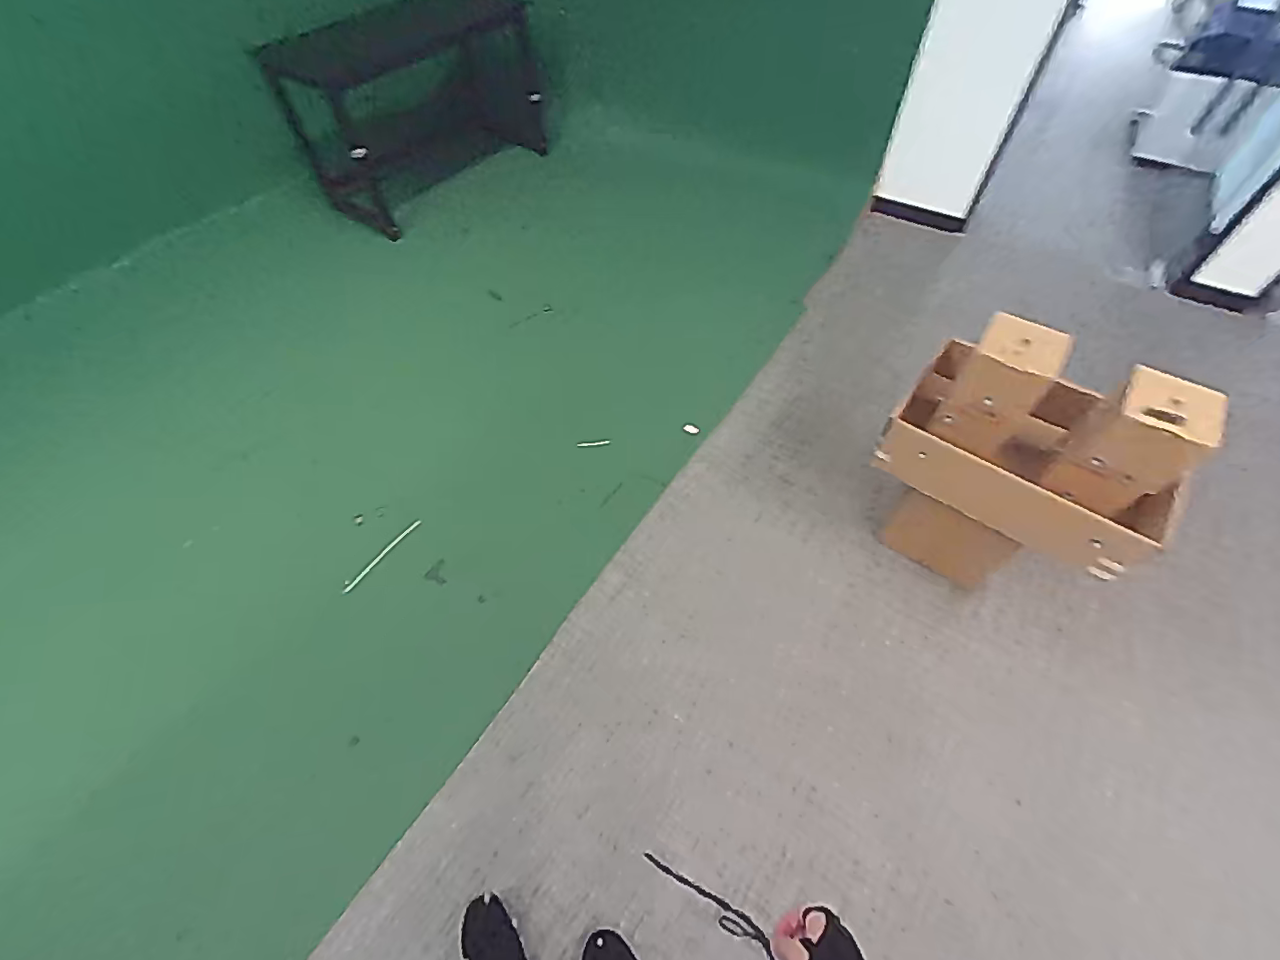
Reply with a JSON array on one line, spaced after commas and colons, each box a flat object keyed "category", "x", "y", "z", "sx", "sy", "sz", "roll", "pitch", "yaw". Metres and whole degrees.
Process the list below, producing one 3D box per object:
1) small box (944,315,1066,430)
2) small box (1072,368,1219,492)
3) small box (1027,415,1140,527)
[{"category": "small box", "x": 0.863, "y": -0.255, "z": 1.292, "sx": 0.168, "sy": 0.176, "sz": 0.179, "roll": 30, "pitch": 61, "yaw": 21}, {"category": "small box", "x": 1.094, "y": -0.105, "z": 1.183, "sx": 0.168, "sy": 0.176, "sz": 0.179, "roll": 30, "pitch": 61, "yaw": 20}, {"category": "small box", "x": 1.096, "y": -0.019, "z": 1.324, "sx": 0.168, "sy": 0.176, "sz": 0.179, "roll": 34, "pitch": 63, "yaw": 22}]
